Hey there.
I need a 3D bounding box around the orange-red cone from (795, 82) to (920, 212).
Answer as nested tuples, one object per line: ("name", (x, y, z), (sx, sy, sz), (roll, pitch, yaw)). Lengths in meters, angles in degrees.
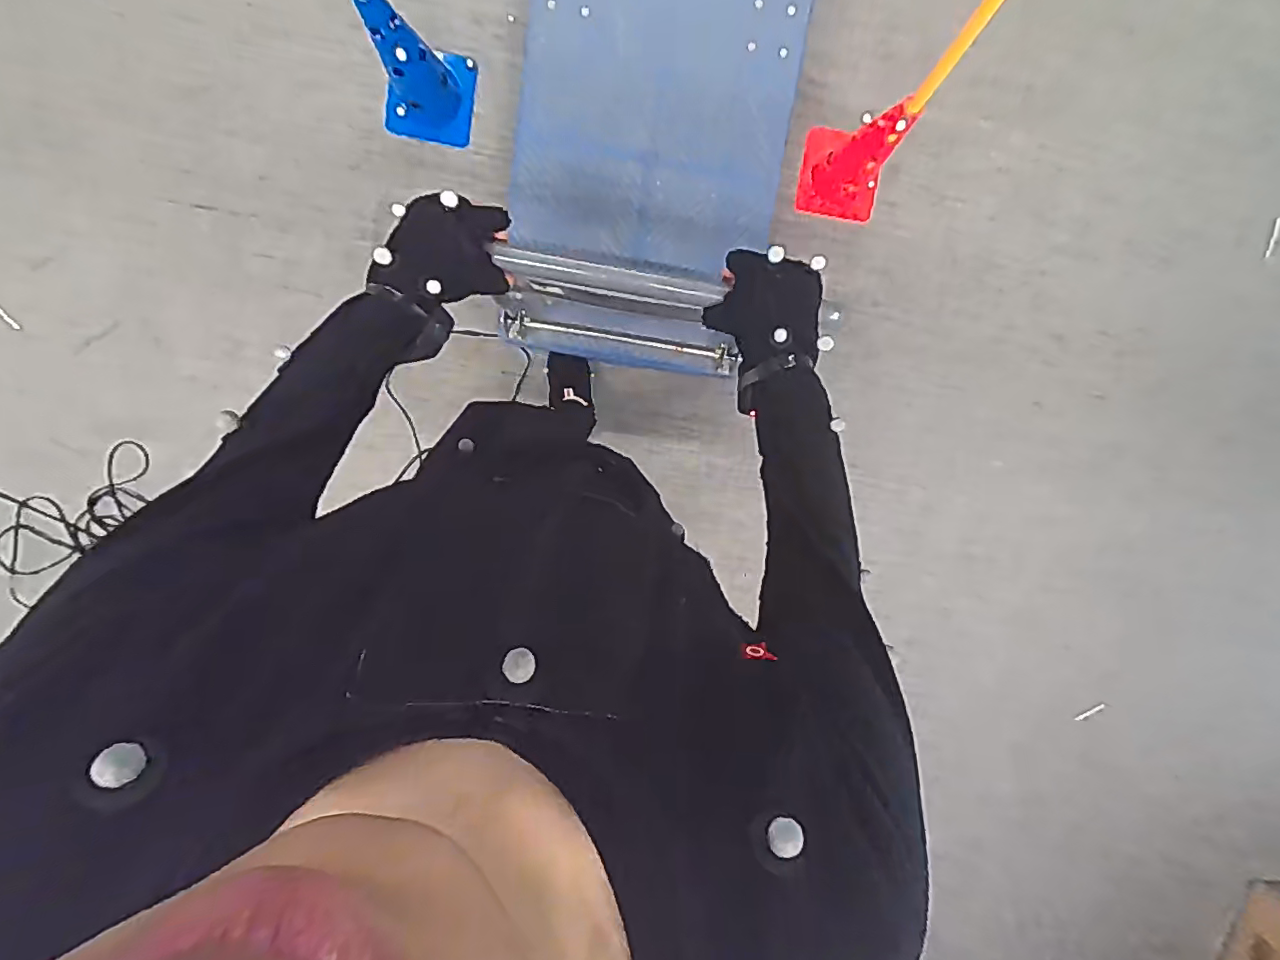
("orange-red cone", (0.501, -0.756, 1.185), (0.199, 0.360, 0.198), (9, 100, -3))
